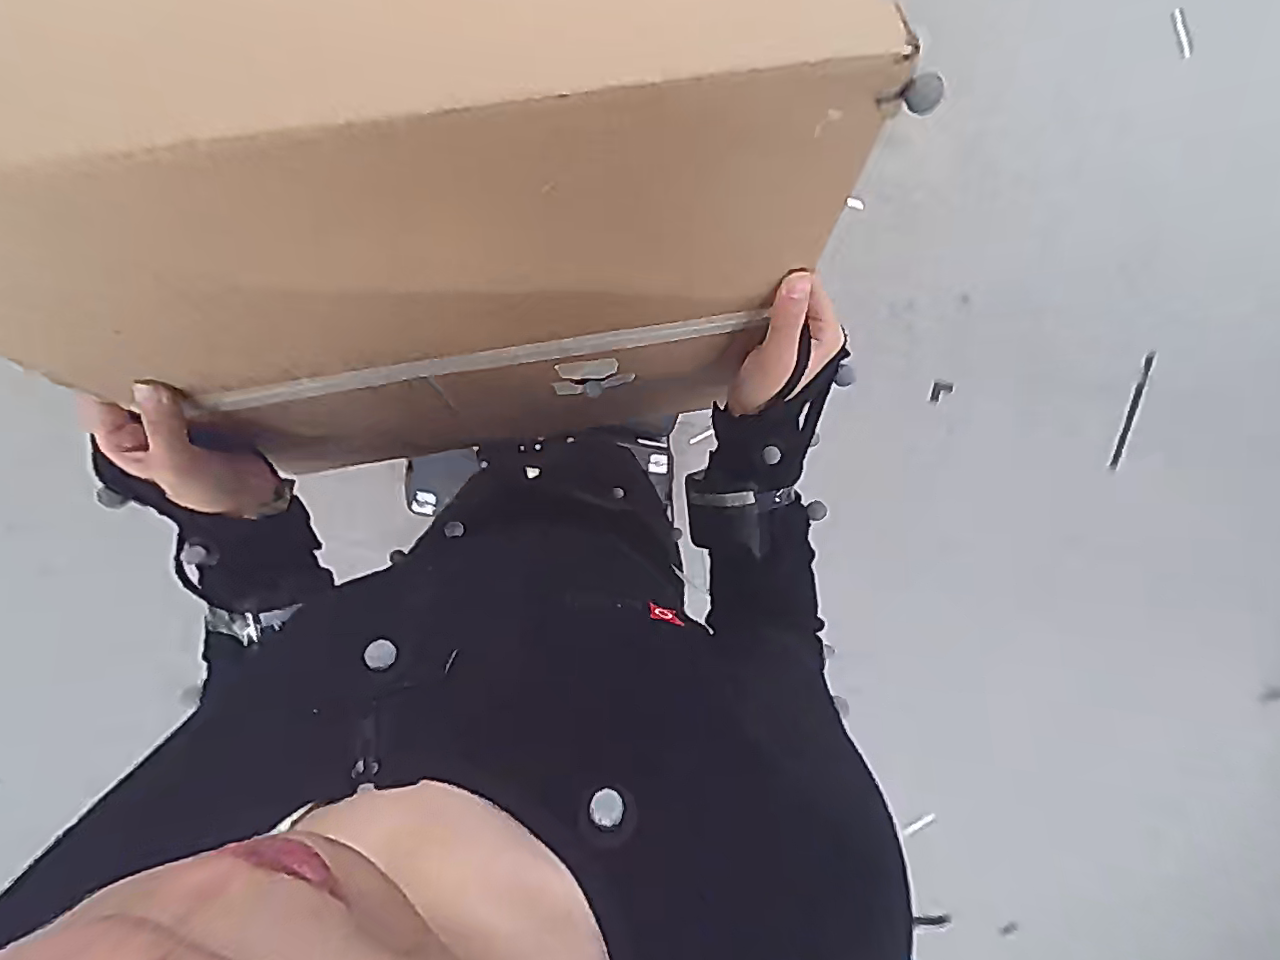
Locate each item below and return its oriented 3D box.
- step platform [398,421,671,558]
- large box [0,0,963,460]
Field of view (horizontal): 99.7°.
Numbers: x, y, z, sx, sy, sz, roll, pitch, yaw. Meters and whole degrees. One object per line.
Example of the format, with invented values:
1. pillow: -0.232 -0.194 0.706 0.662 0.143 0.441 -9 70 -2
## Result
1. step platform: -0.263 -0.009 1.430 0.684 0.204 0.286 15 97 -10
2. large box: -0.113 -0.232 0.344 0.408 0.320 0.320 -10 76 -3
